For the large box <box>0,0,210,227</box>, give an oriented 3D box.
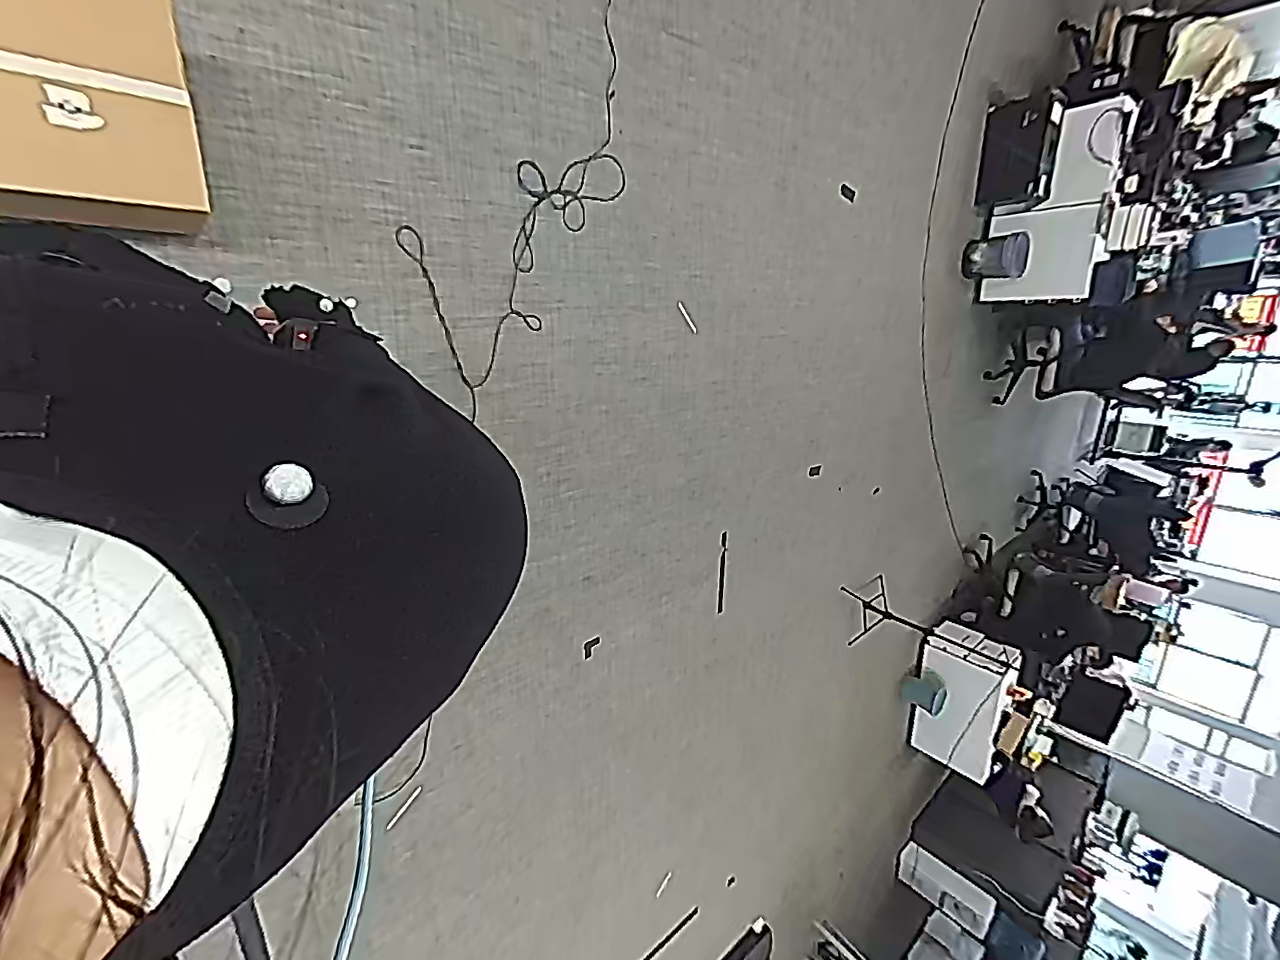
[{"bbox_3d":[-0.938,-0.584,0.808,0.408,0.320,0.320,-13,111,-40],"label":"large box"}]
